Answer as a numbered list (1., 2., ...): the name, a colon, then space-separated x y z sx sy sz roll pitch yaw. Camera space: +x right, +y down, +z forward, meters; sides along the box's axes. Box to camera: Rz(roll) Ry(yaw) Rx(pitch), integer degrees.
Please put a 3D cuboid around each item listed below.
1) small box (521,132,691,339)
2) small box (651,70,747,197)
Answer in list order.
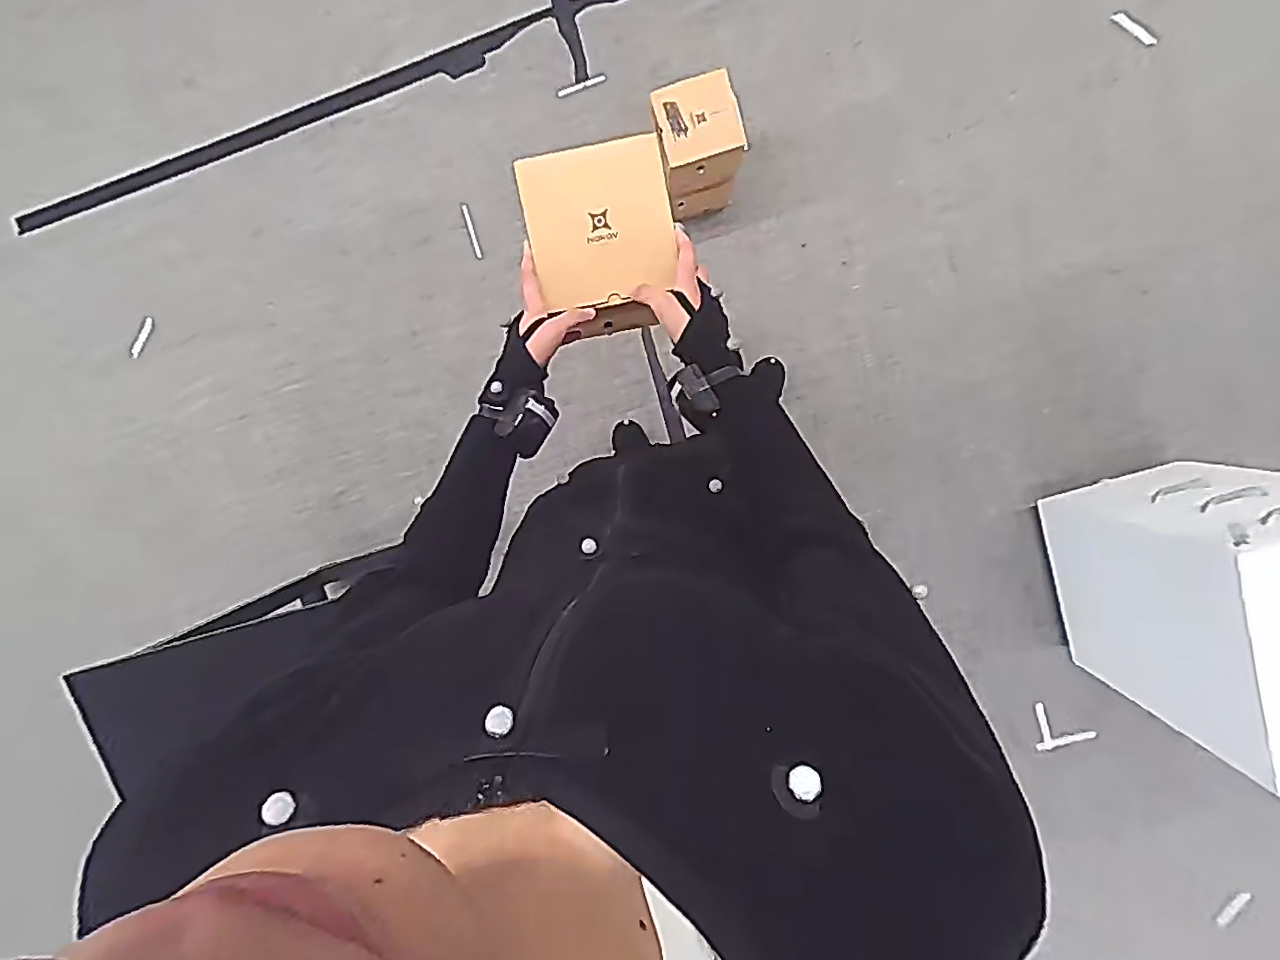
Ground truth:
1. small box: -0.040 -0.291 0.679 0.168 0.176 0.179 -11 95 0
2. small box: 0.133 -0.786 1.248 0.179 0.176 0.168 -16 97 4
